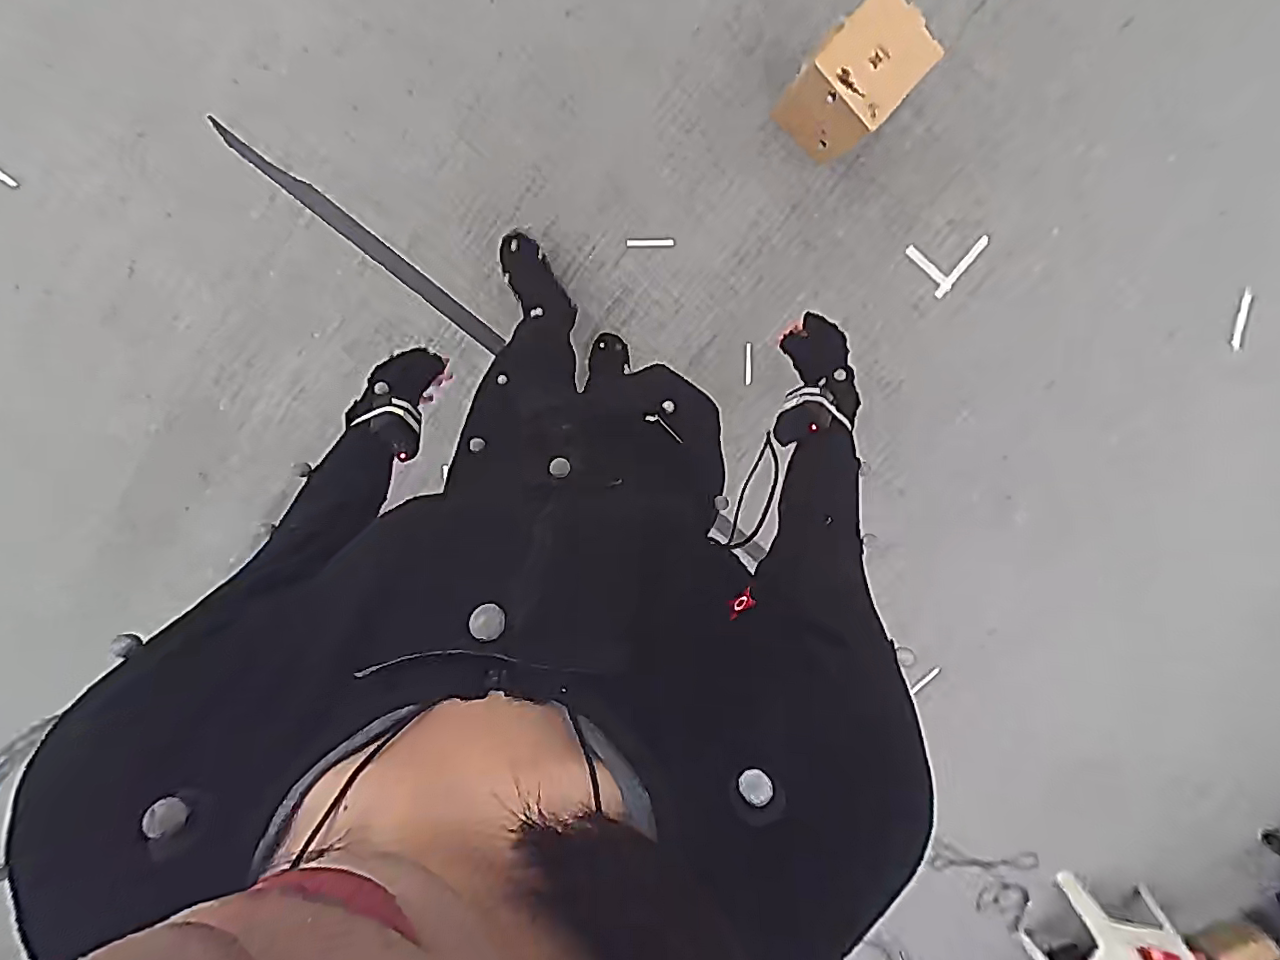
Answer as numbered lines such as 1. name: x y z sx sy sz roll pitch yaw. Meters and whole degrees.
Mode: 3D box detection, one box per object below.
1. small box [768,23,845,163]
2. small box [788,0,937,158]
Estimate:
1. small box: 0.415 -0.838 1.198 0.179 0.176 0.168 34 103 -11
2. small box: 0.418 -0.772 1.048 0.168 0.176 0.179 41 101 -13
